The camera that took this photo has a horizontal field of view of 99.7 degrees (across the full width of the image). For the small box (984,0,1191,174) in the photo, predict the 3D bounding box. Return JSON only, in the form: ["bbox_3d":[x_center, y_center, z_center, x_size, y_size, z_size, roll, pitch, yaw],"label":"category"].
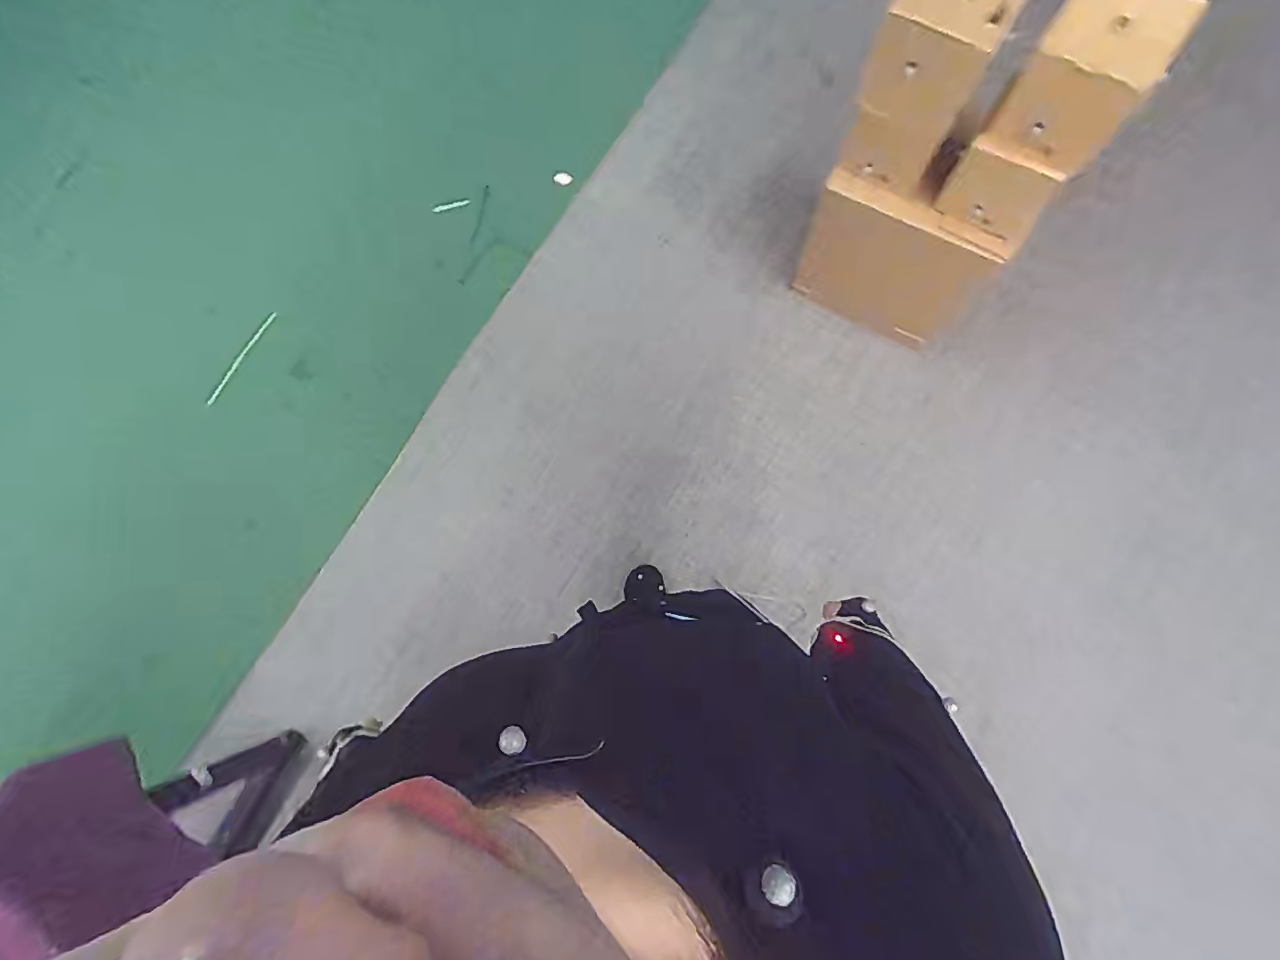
[{"bbox_3d":[0.709,-0.653,0.883,0.168,0.176,0.179,34,85,11],"label":"small box"}]
